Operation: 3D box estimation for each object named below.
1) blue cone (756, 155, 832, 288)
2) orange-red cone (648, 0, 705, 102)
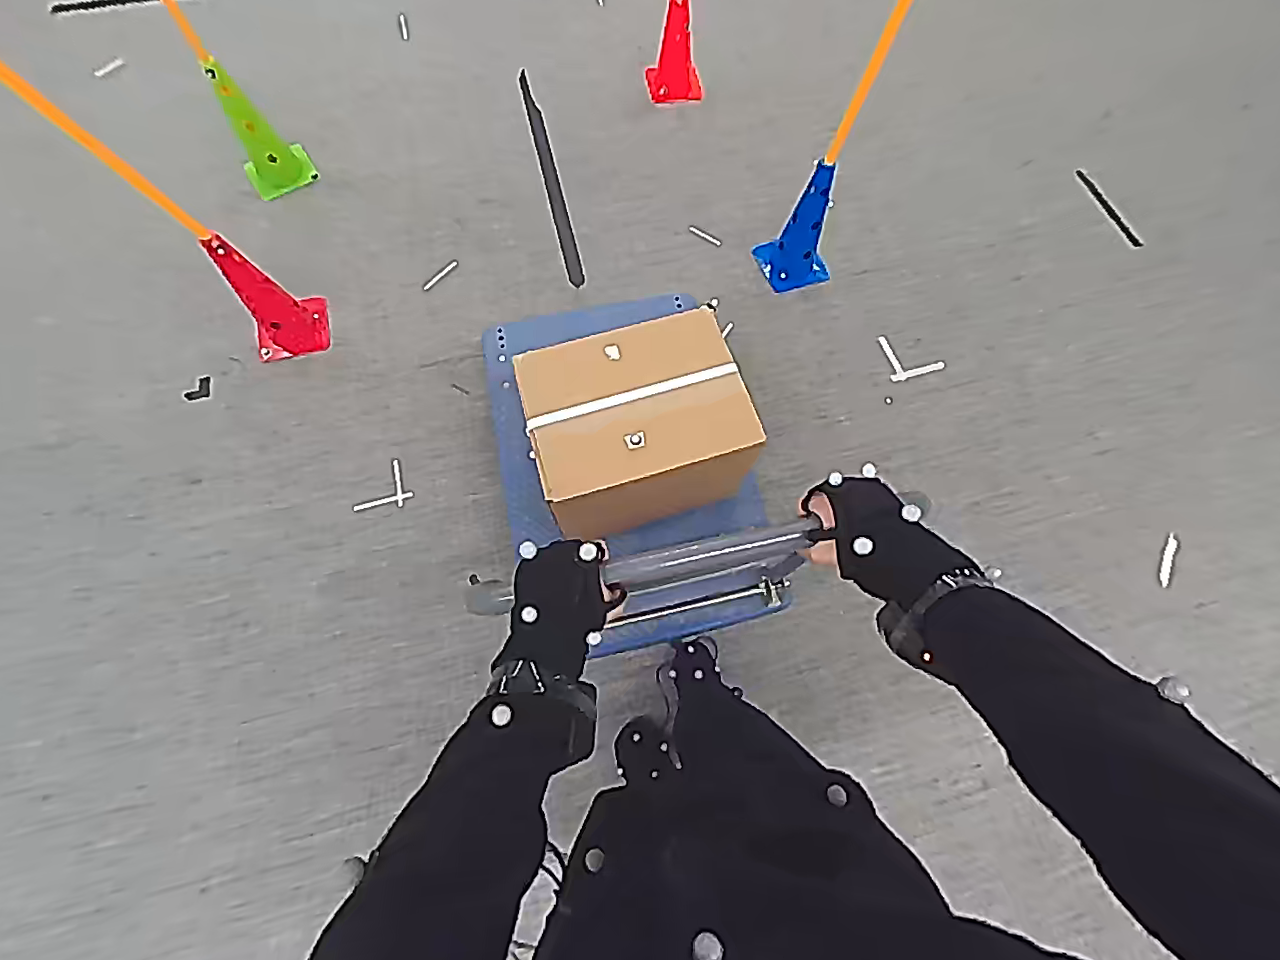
[{"bbox_3d":[0.491,-0.763,1.588,0.193,0.380,0.192,-17,69,-8],"label":"blue cone"},{"bbox_3d":[0.141,-1.555,1.874,0.199,0.360,0.198,-7,70,-5],"label":"orange-red cone"}]
